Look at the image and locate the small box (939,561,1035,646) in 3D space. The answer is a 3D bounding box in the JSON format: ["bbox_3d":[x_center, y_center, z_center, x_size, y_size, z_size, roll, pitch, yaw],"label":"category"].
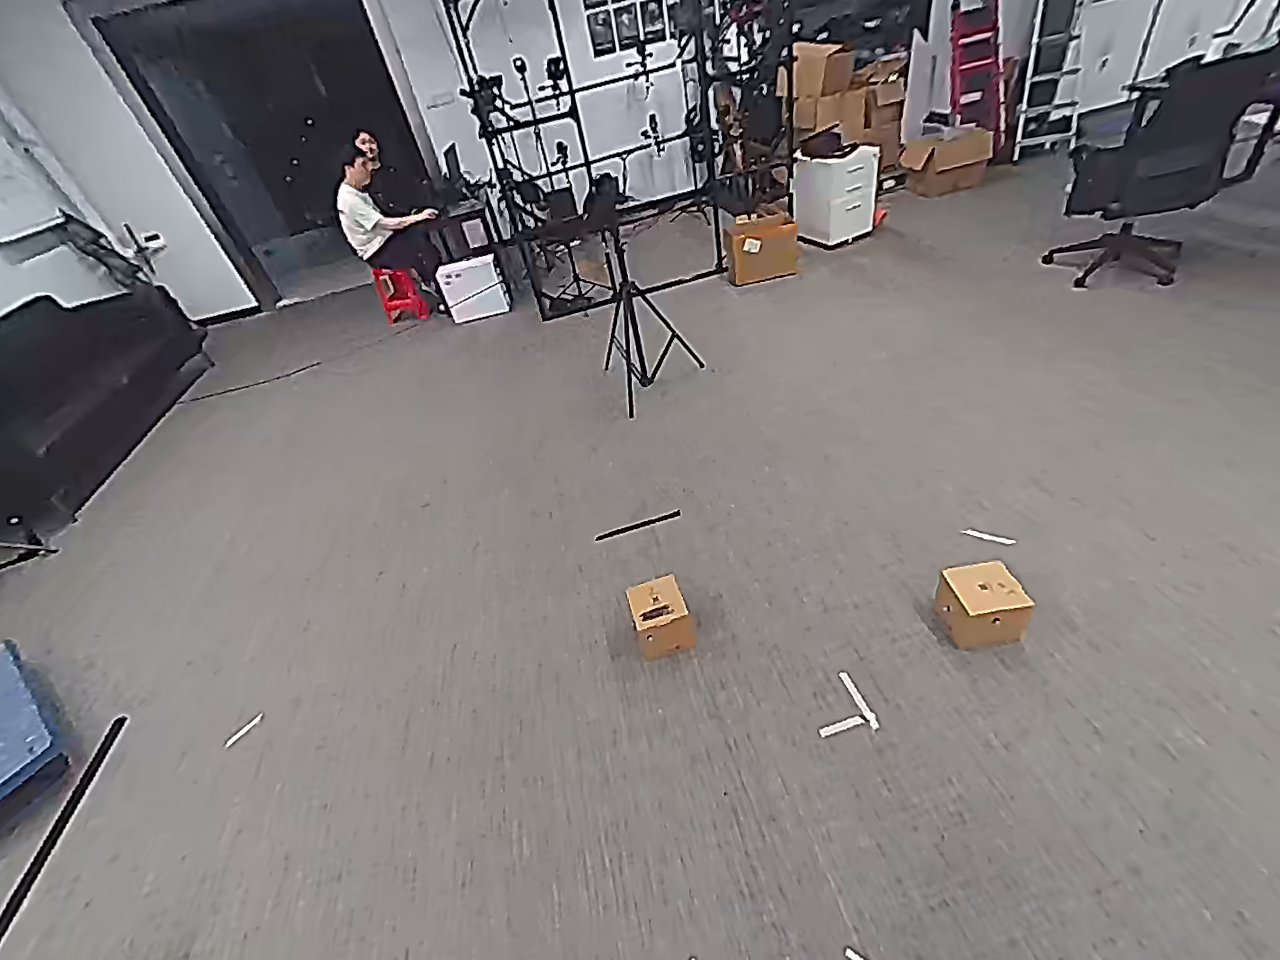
[{"bbox_3d":[0.996,0.364,1.574,0.179,0.176,0.168,-10,40,4],"label":"small box"}]
